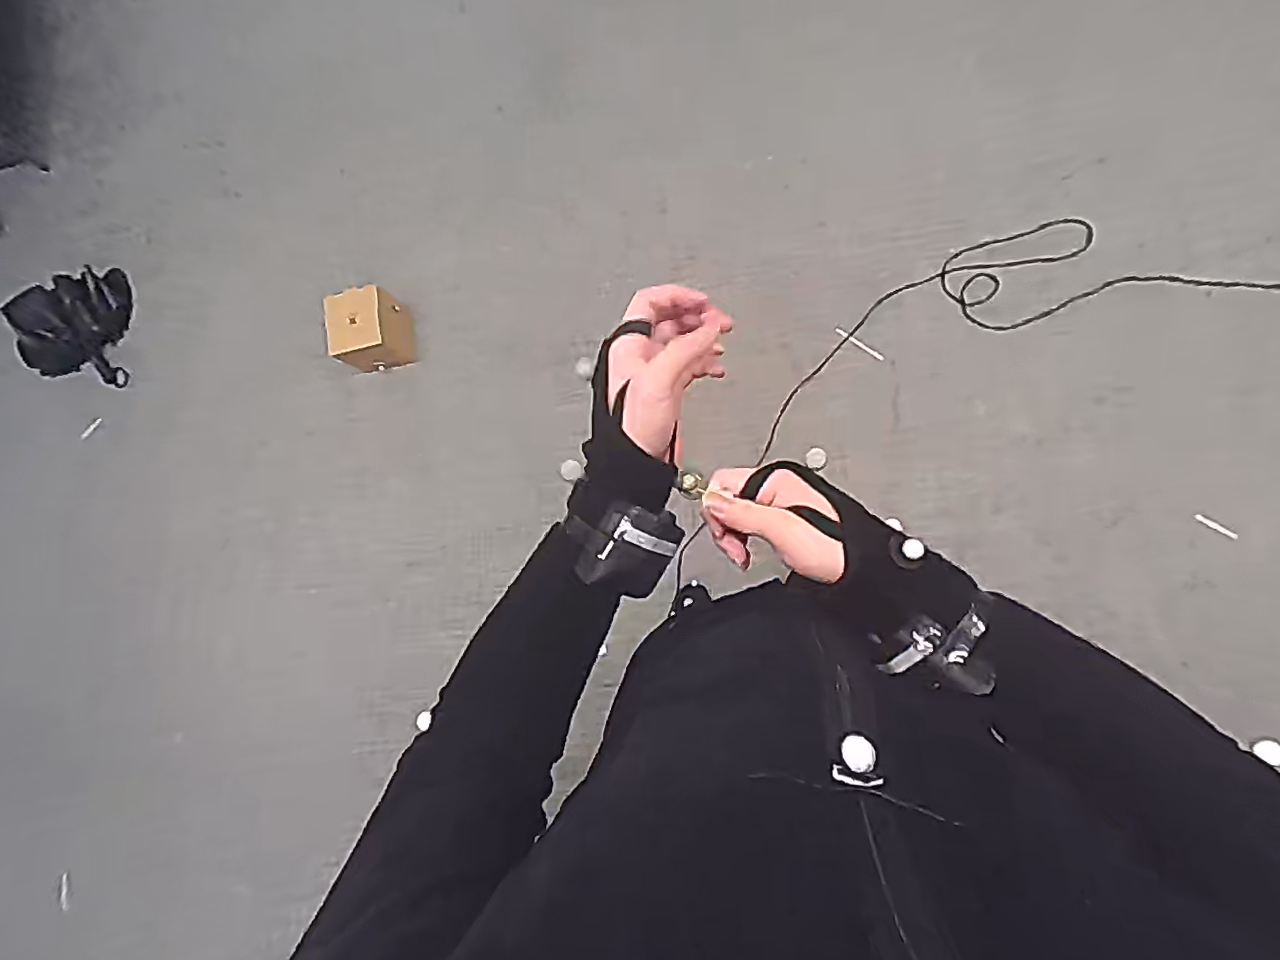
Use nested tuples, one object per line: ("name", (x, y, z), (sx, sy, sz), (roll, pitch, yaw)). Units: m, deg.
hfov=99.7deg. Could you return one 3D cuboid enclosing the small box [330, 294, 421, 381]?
("small box", (-0.758, -0.405, 1.559), (0.168, 0.176, 0.179), (-10, 83, 9))
